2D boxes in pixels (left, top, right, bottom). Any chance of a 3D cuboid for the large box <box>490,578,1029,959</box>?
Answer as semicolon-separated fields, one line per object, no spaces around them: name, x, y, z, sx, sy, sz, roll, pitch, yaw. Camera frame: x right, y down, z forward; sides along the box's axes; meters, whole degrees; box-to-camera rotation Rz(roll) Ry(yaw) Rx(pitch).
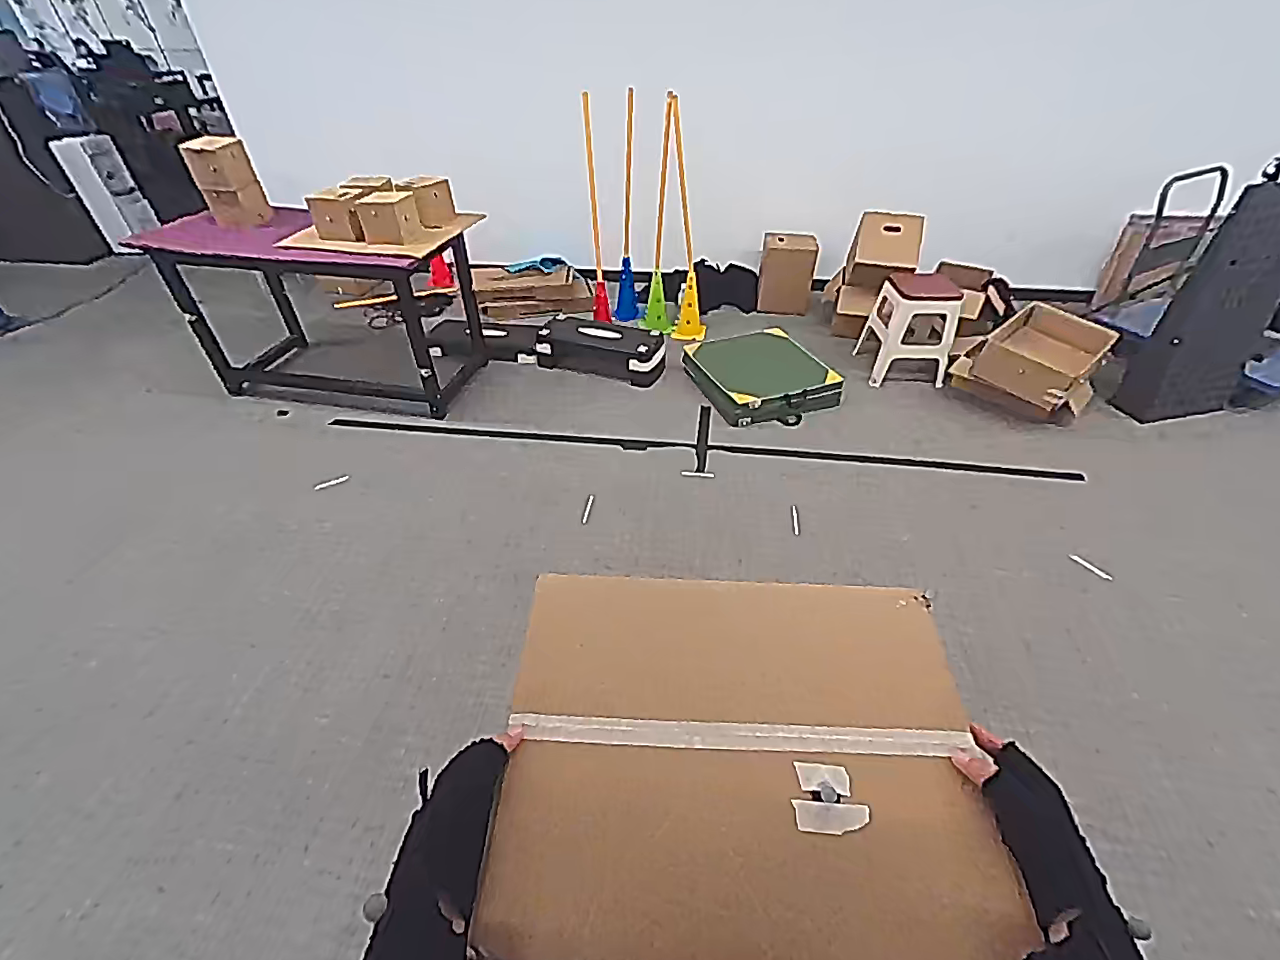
large box;0.089;0.327;0.601;0.408;0.320;0.320;2;49;2
